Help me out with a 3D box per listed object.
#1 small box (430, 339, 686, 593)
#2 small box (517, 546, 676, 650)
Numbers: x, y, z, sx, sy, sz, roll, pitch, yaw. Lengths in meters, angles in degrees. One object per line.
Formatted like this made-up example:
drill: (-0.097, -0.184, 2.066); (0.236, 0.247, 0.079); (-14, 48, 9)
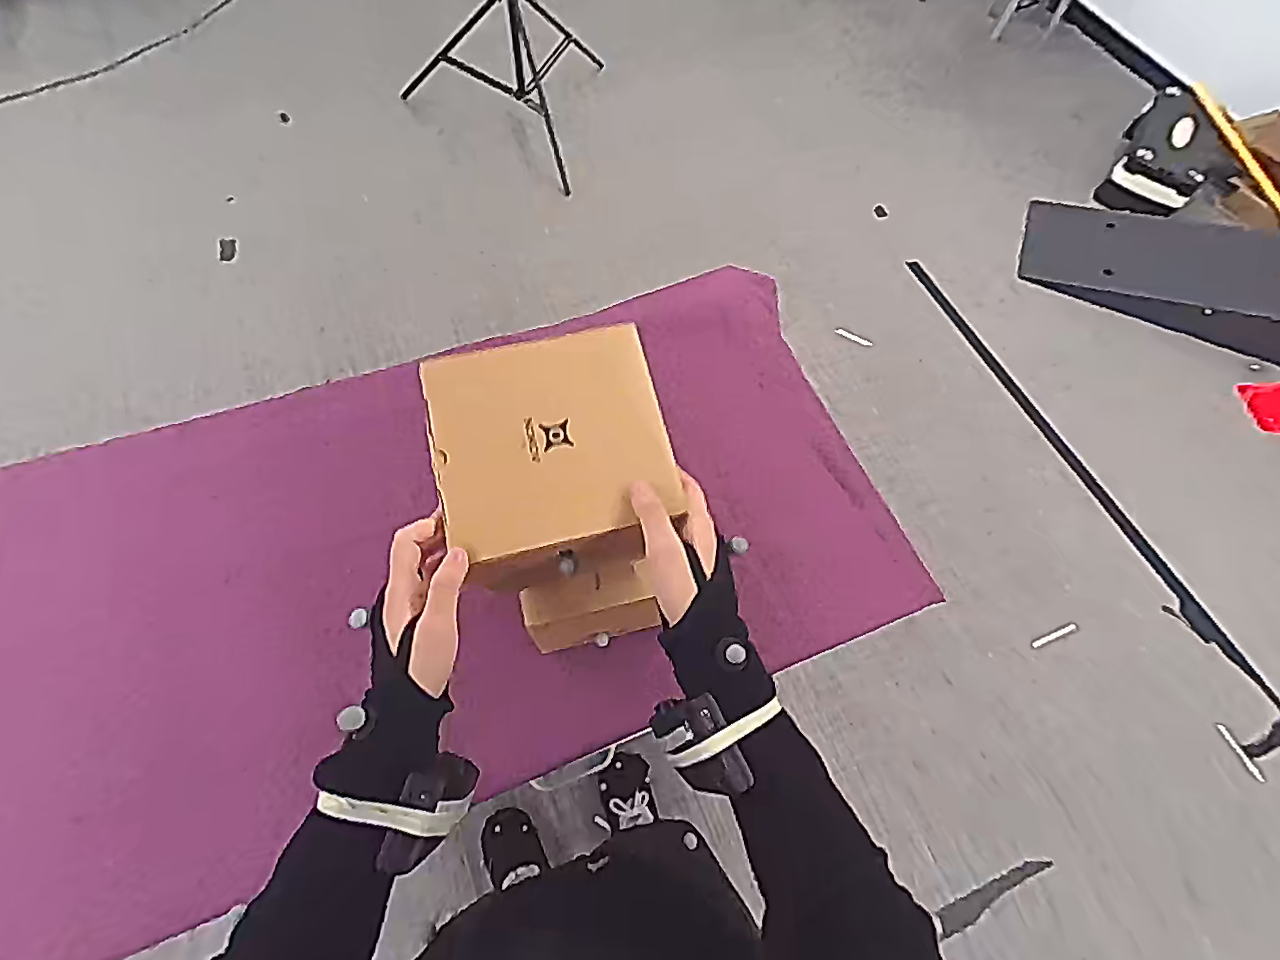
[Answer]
small box: (-0.071, -0.002, 0.496); (0.179, 0.176, 0.168); (-13, 72, -7)
small box: (-0.065, 0.093, 0.664); (0.168, 0.176, 0.179); (-11, 66, -9)
